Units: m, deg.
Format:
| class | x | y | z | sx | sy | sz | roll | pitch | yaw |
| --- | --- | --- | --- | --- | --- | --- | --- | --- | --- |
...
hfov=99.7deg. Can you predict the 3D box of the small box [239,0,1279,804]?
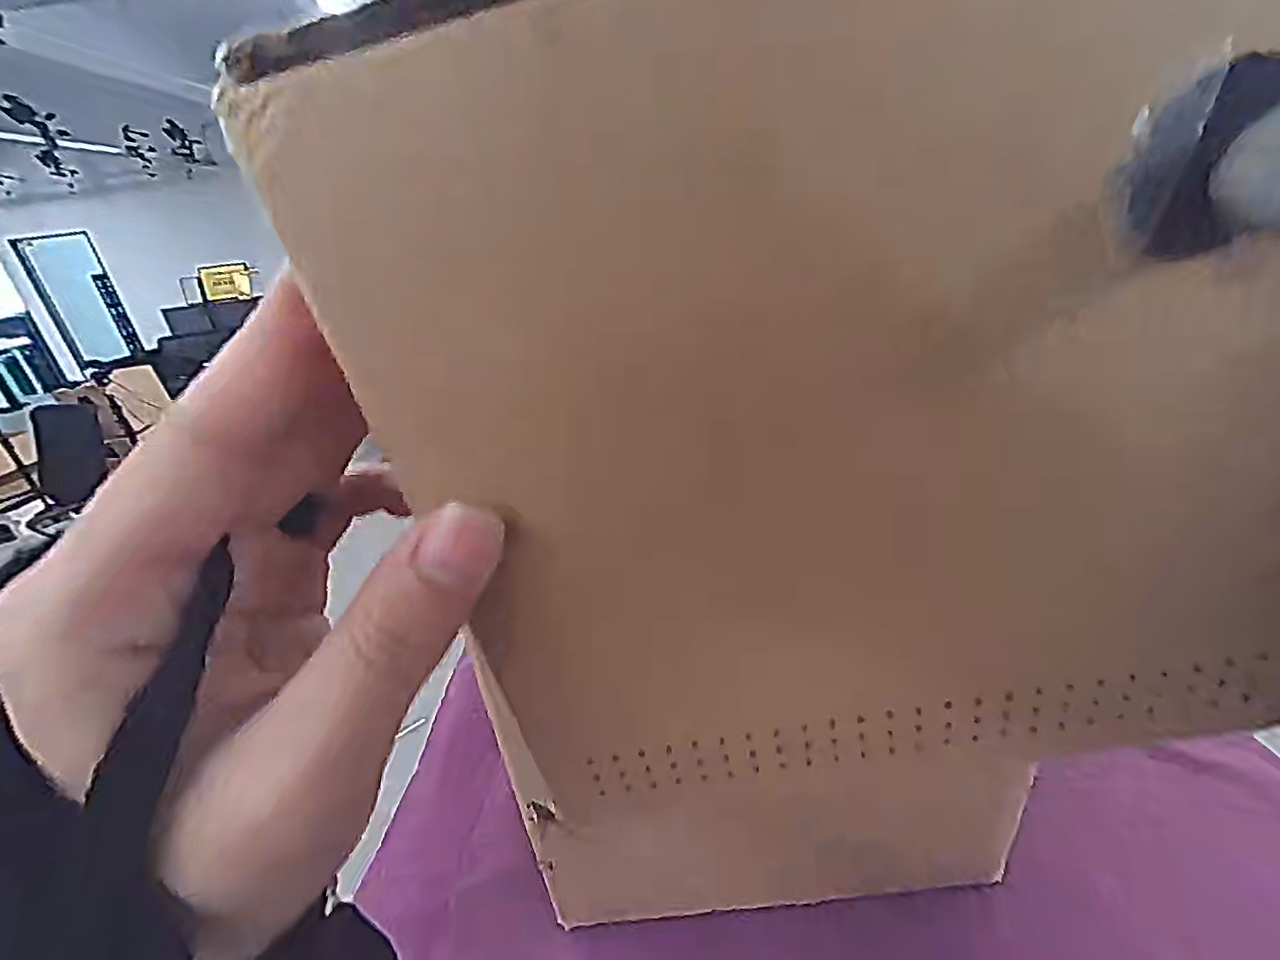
| class | x | y | z | sx | sy | sz | roll | pitch | yaw |
| --- | --- | --- | --- | --- | --- | --- | --- | --- | --- |
| small box | 0.049 | -0.035 | 0.168 | 0.179 | 0.176 | 0.168 | -12 | 27 | 6 |
